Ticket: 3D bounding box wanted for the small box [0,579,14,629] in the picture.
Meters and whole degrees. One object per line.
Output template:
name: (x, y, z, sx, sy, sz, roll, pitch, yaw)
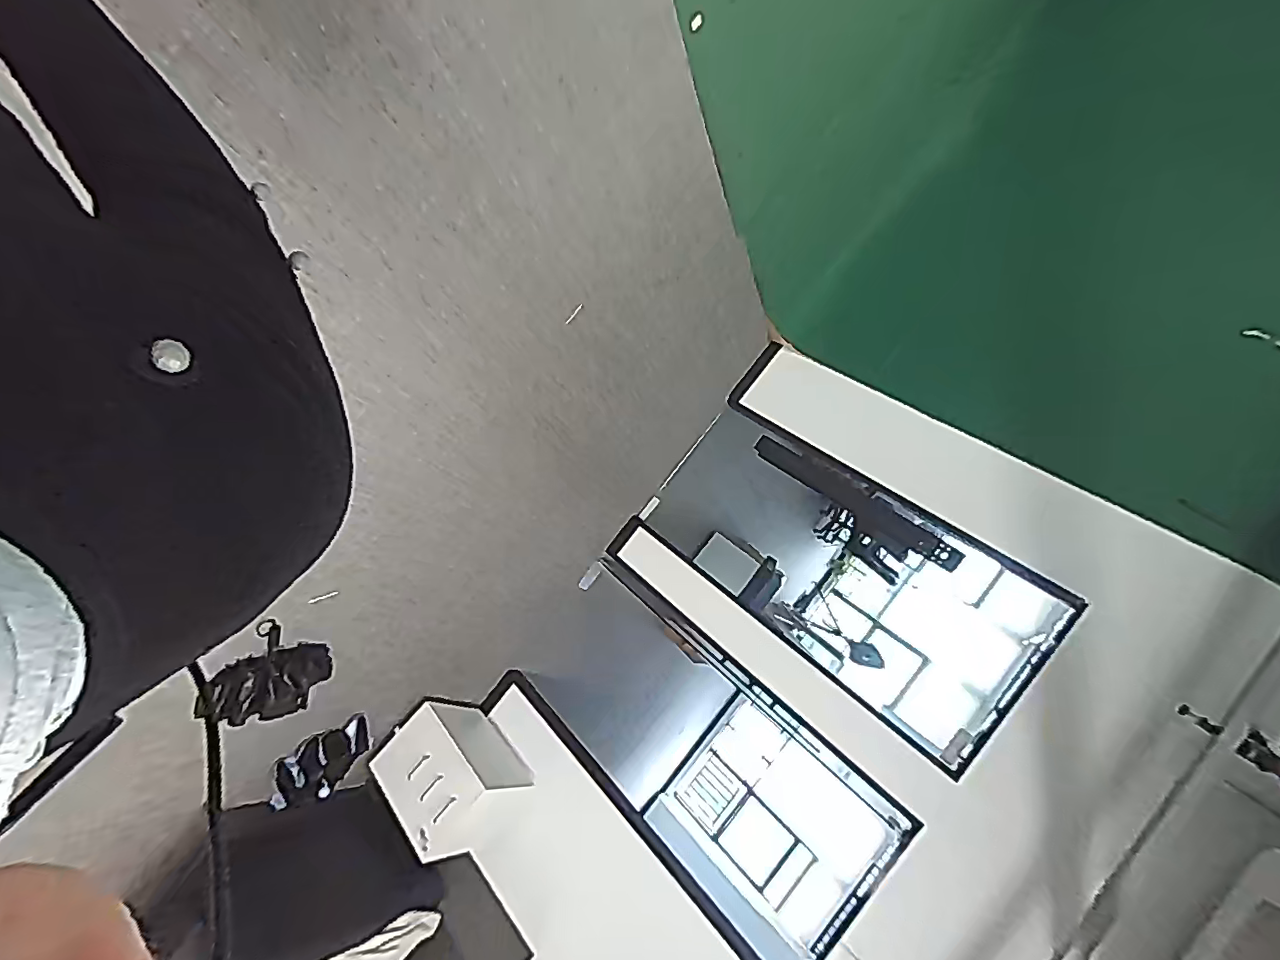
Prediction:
small box: (-1.488, 0.284, 1.129, 0.179, 0.176, 0.168, -54, 151, -3)
